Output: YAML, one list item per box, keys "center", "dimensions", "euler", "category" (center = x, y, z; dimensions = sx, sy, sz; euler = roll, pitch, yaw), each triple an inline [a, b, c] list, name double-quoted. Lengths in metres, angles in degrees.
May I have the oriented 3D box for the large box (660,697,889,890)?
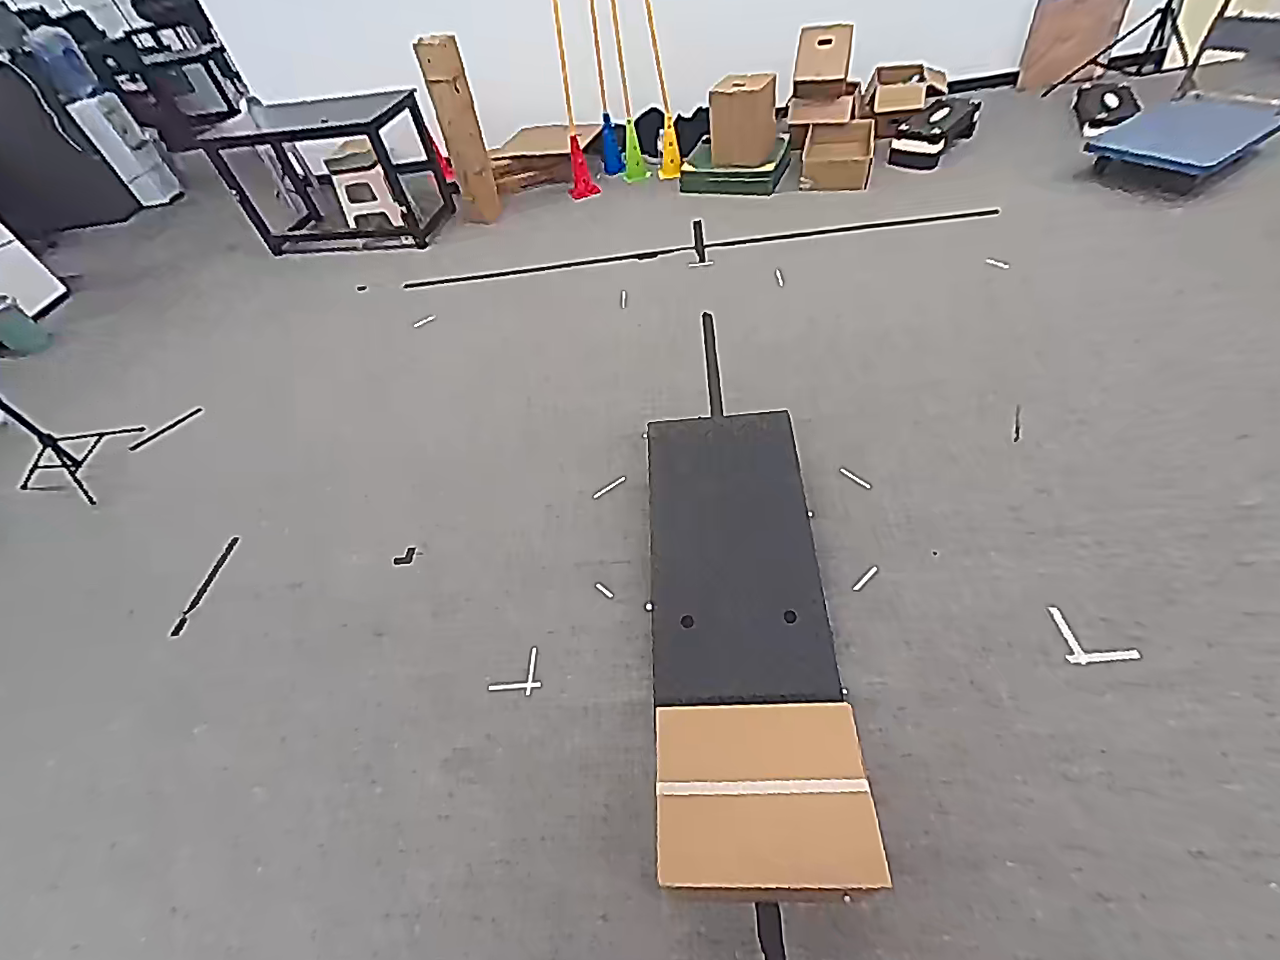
- center: [0.260, 0.683, 1.165]
  dimensions: [0.408, 0.320, 0.320]
  euler: [-4, 48, 6]
  category: "large box"

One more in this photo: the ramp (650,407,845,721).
- center: [0.285, 0.199, 1.643]
  dimensions: [0.509, 0.206, 0.991]
  euler: [-5, 50, 4]
  category: "ramp"
